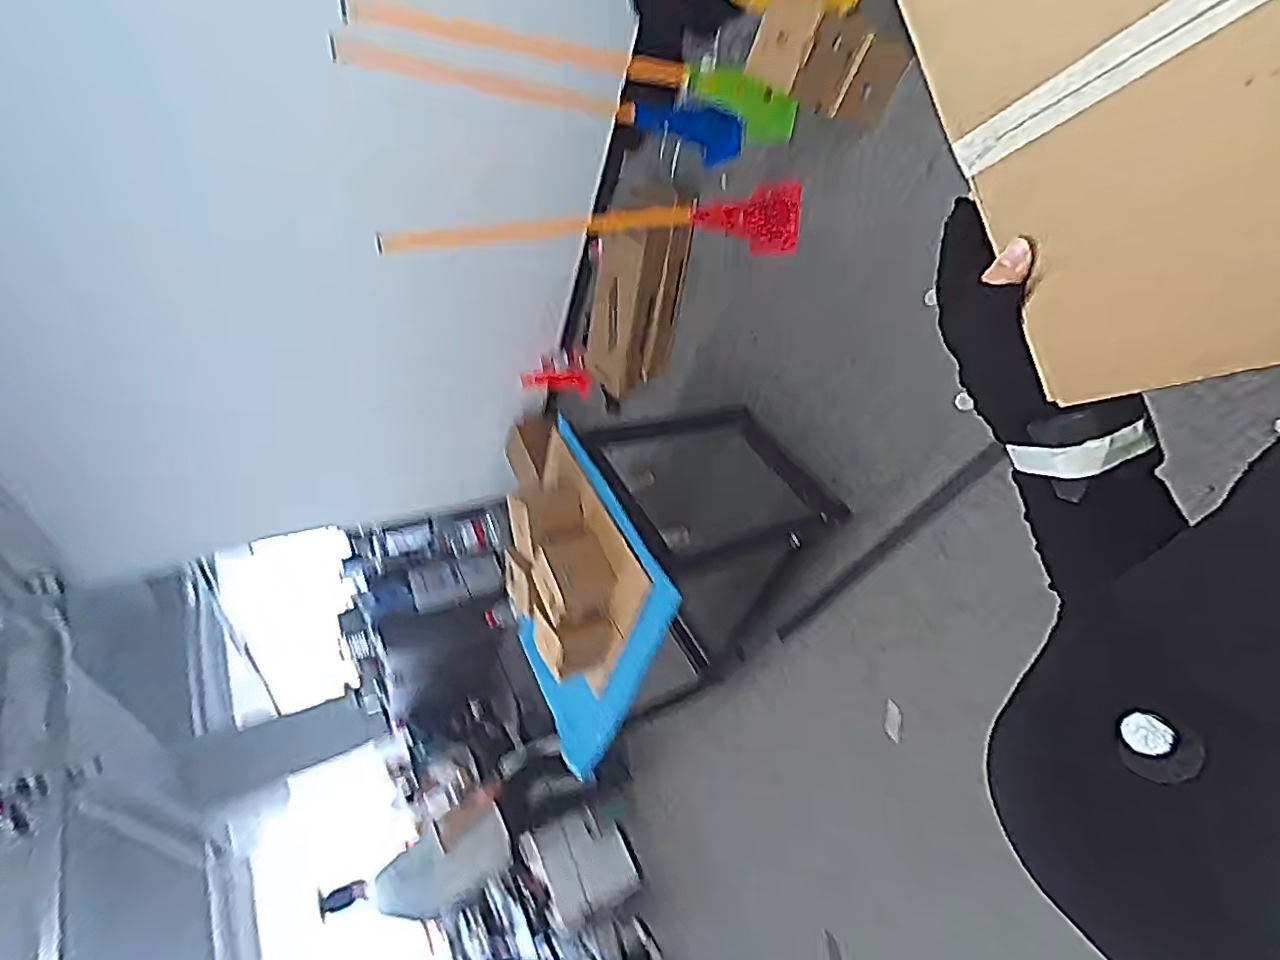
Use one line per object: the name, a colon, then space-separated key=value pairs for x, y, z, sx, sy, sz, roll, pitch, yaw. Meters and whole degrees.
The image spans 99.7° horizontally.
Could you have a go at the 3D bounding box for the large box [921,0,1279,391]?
large box: x=0.404 y=-0.275 z=0.217 sx=0.408 sy=0.320 sz=0.320 roll=-12 pitch=107 yaw=59
